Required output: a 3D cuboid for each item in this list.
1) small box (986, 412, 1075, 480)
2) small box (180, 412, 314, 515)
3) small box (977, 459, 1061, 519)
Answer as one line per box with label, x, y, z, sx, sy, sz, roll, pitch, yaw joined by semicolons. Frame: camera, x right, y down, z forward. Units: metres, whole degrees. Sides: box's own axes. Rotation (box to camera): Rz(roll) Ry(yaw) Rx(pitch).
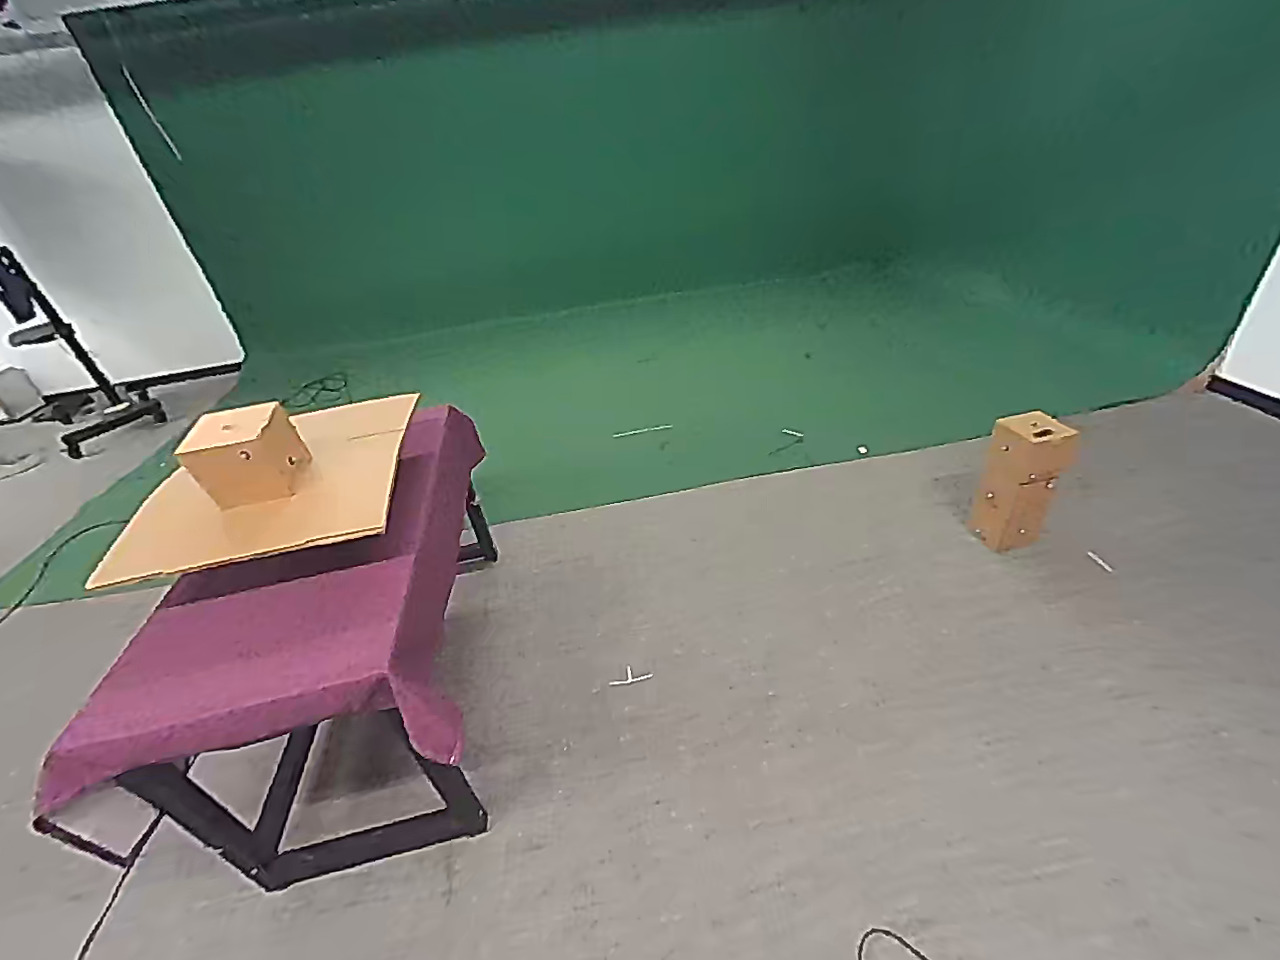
small box;1.356;-0.112;1.889;0.168;0.176;0.179;-12;33;-4
small box;-0.928;-0.036;1.297;0.179;0.176;0.168;-12;40;-6
small box;1.382;0.017;1.987;0.179;0.176;0.168;-14;34;-5
